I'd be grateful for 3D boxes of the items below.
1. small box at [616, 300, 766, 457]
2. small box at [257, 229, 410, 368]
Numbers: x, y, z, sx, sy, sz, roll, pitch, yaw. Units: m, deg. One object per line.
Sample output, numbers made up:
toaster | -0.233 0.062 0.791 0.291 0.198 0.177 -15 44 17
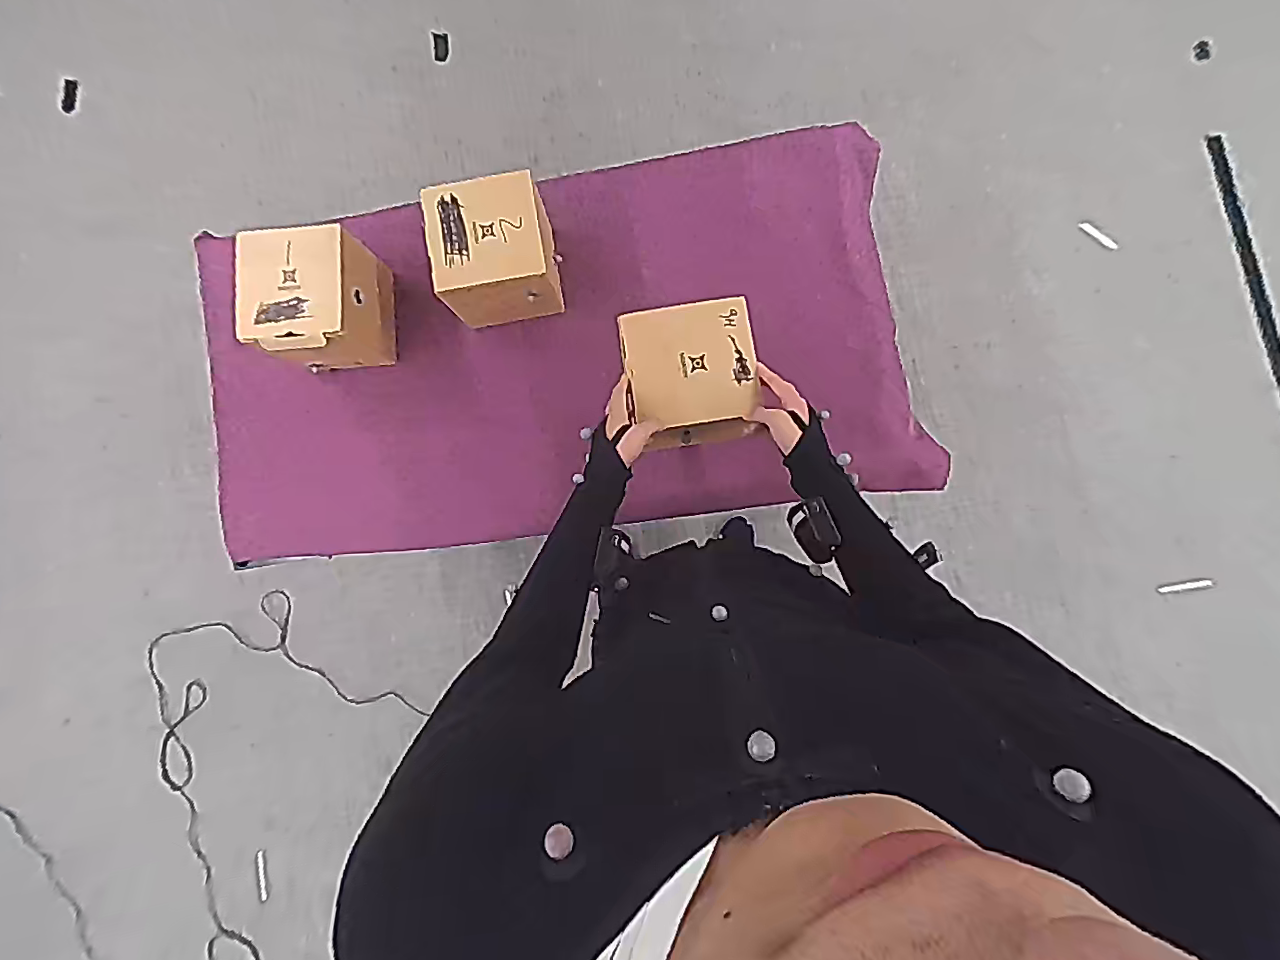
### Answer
small box | 0.068 -0.137 0.792 0.179 0.176 0.168 -11 84 -1
small box | -0.505 -0.293 0.912 0.168 0.176 0.179 -3 85 3
